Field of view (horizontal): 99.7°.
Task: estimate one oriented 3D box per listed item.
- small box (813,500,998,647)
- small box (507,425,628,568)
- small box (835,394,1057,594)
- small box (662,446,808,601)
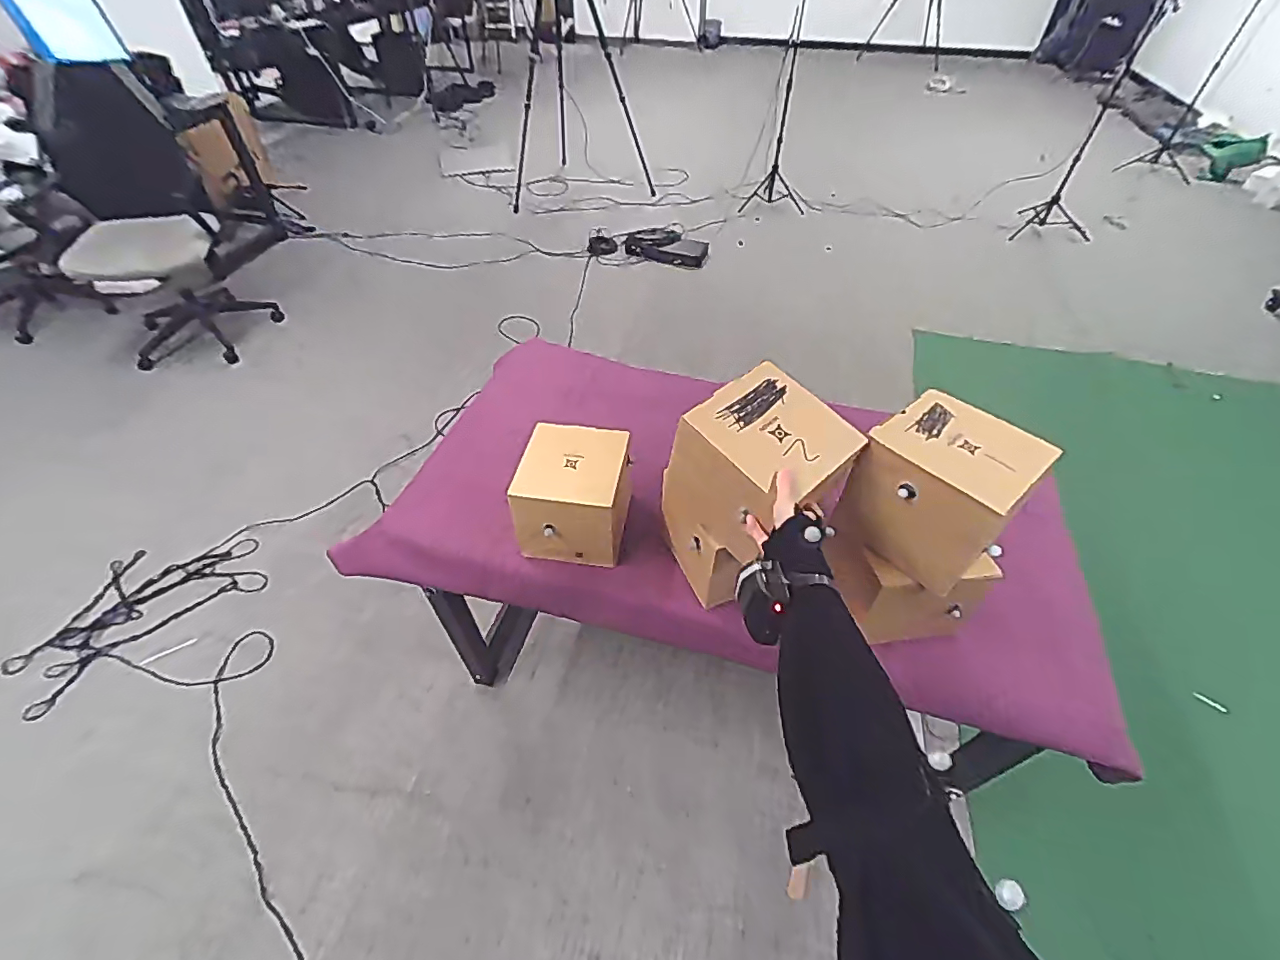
[{"bbox_3d":[0.392,0.140,0.837,0.179,0.176,0.168,-5,45,-5],"label":"small box"},{"bbox_3d":[-0.113,0.030,0.931,0.168,0.176,0.179,6,46,5],"label":"small box"},{"bbox_3d":[0.395,0.017,0.728,0.168,0.176,0.179,-30,53,-28],"label":"small box"},{"bbox_3d":[0.144,0.078,0.889,0.168,0.176,0.179,-16,49,-16],"label":"small box"}]
